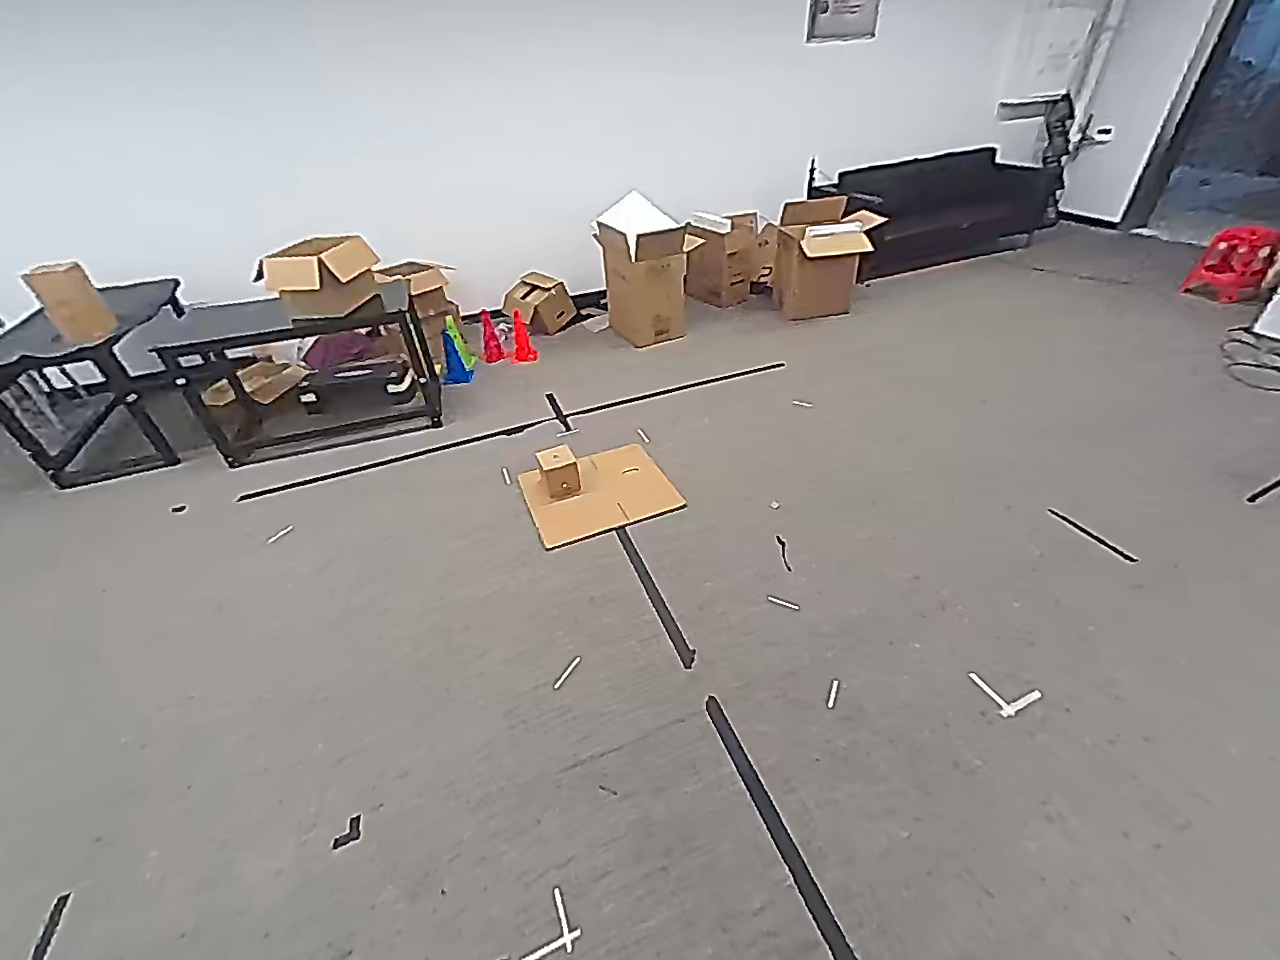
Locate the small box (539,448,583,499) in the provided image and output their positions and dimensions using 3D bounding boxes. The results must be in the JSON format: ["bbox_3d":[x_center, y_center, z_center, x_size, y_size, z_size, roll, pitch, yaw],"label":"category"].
[{"bbox_3d":[-0.396,-0.034,2.711,0.168,0.176,0.179,-18,39,-16],"label":"small box"}]
